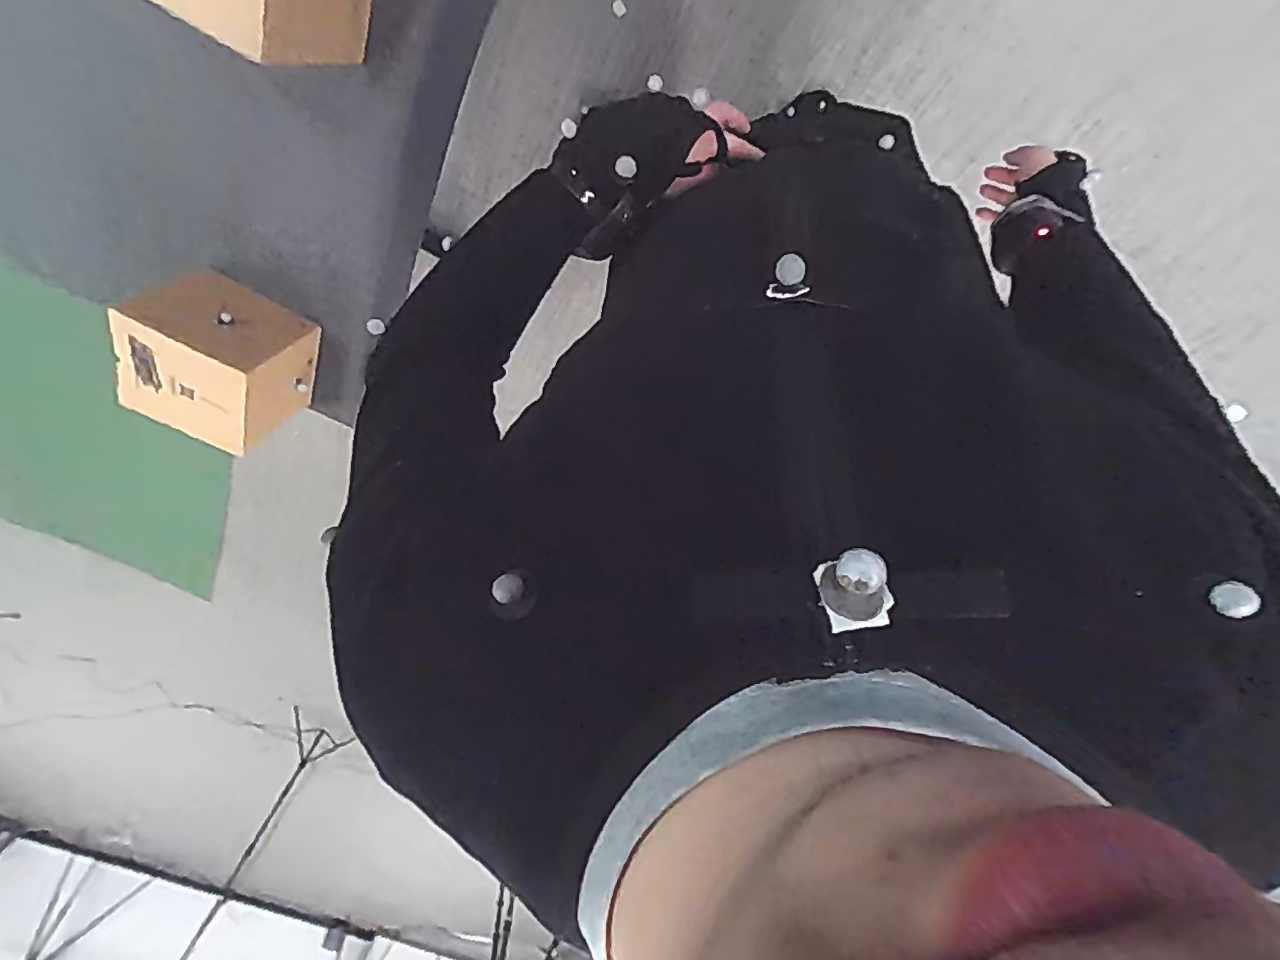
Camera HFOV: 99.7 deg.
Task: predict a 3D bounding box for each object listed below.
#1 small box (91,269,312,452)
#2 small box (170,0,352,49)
[{"bbox_3d":[-0.617,-0.179,0.779,0.179,0.176,0.168,28,127,-12],"label":"small box"},{"bbox_3d":[-0.365,-0.518,0.471,0.179,0.176,0.168,28,126,-10],"label":"small box"}]
